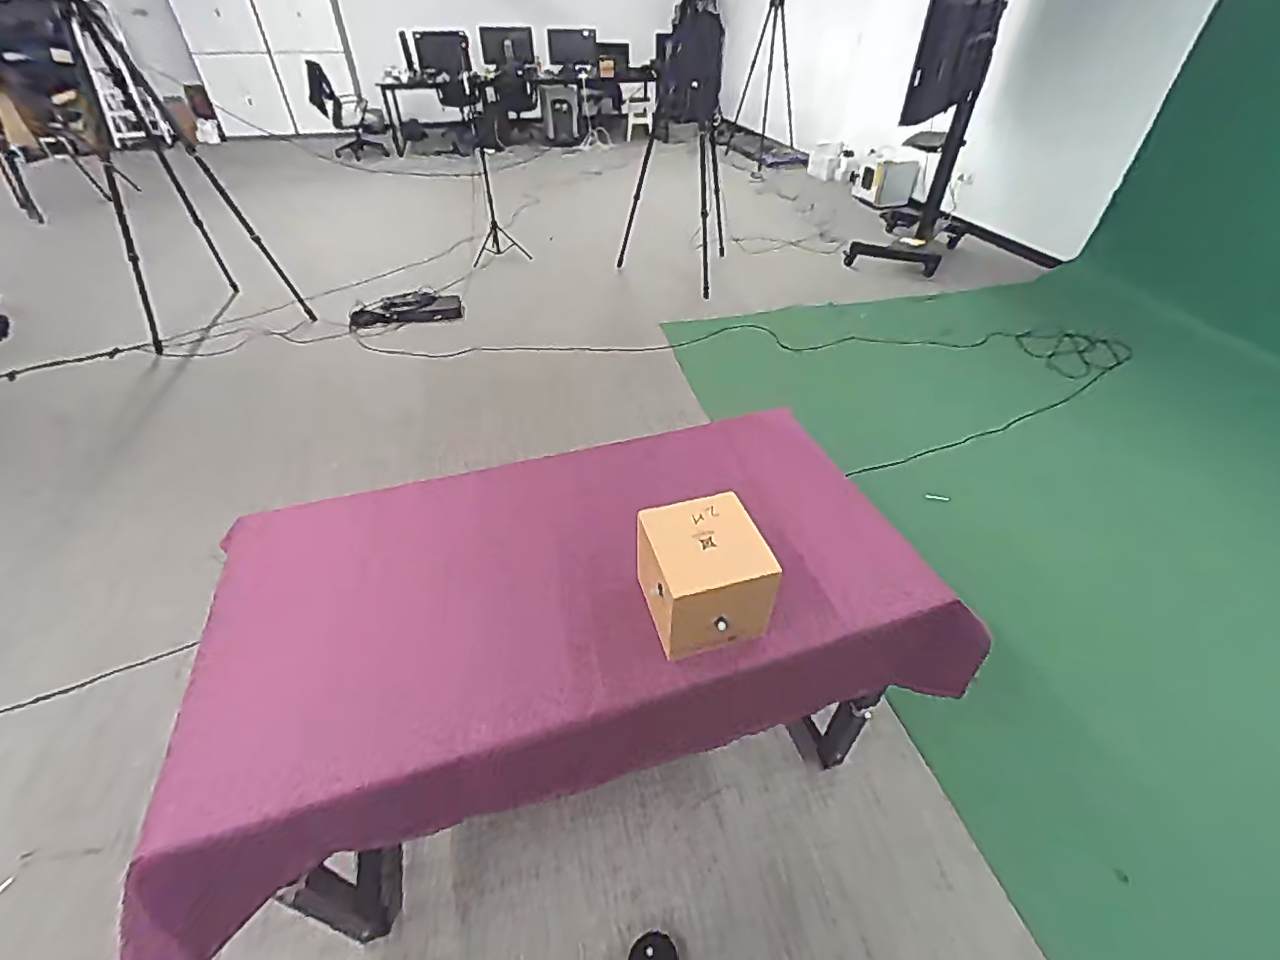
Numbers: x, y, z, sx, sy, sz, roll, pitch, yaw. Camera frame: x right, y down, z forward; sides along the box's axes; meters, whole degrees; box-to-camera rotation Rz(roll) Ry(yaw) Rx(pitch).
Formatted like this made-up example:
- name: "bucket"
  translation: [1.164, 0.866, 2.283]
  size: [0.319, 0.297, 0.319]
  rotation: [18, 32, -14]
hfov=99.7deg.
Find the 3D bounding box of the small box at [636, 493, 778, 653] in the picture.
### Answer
- name: "small box"
  translation: [0.097, 0.152, 0.857]
  size: [0.168, 0.176, 0.179]
  rotation: [-11, 43, -13]
